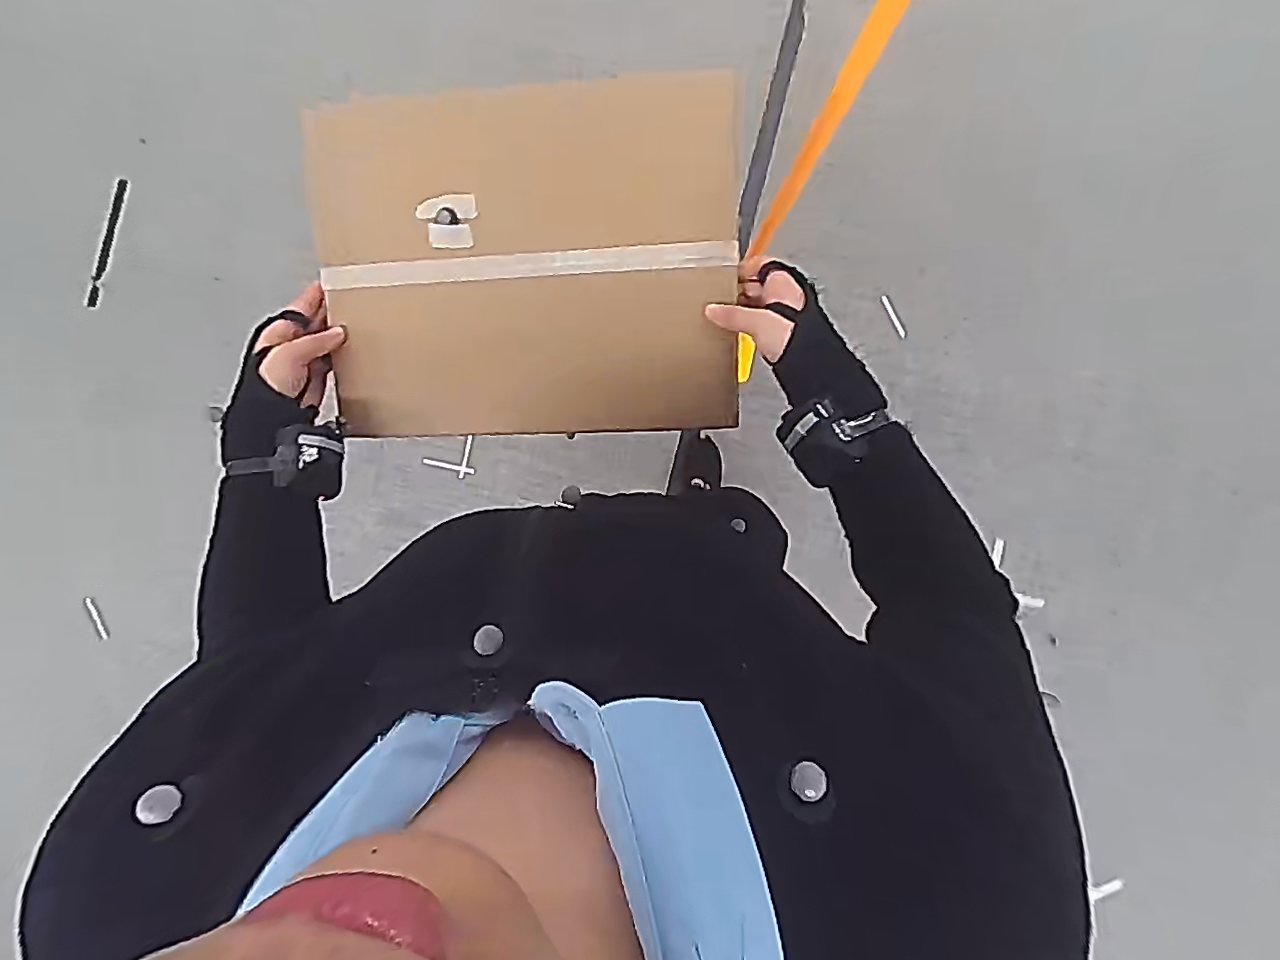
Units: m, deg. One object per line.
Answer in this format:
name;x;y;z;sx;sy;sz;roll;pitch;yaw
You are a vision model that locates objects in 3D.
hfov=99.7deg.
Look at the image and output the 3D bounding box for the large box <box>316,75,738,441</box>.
large box;-0.096;-0.225;0.674;0.408;0.320;0.320;-3;97;6
